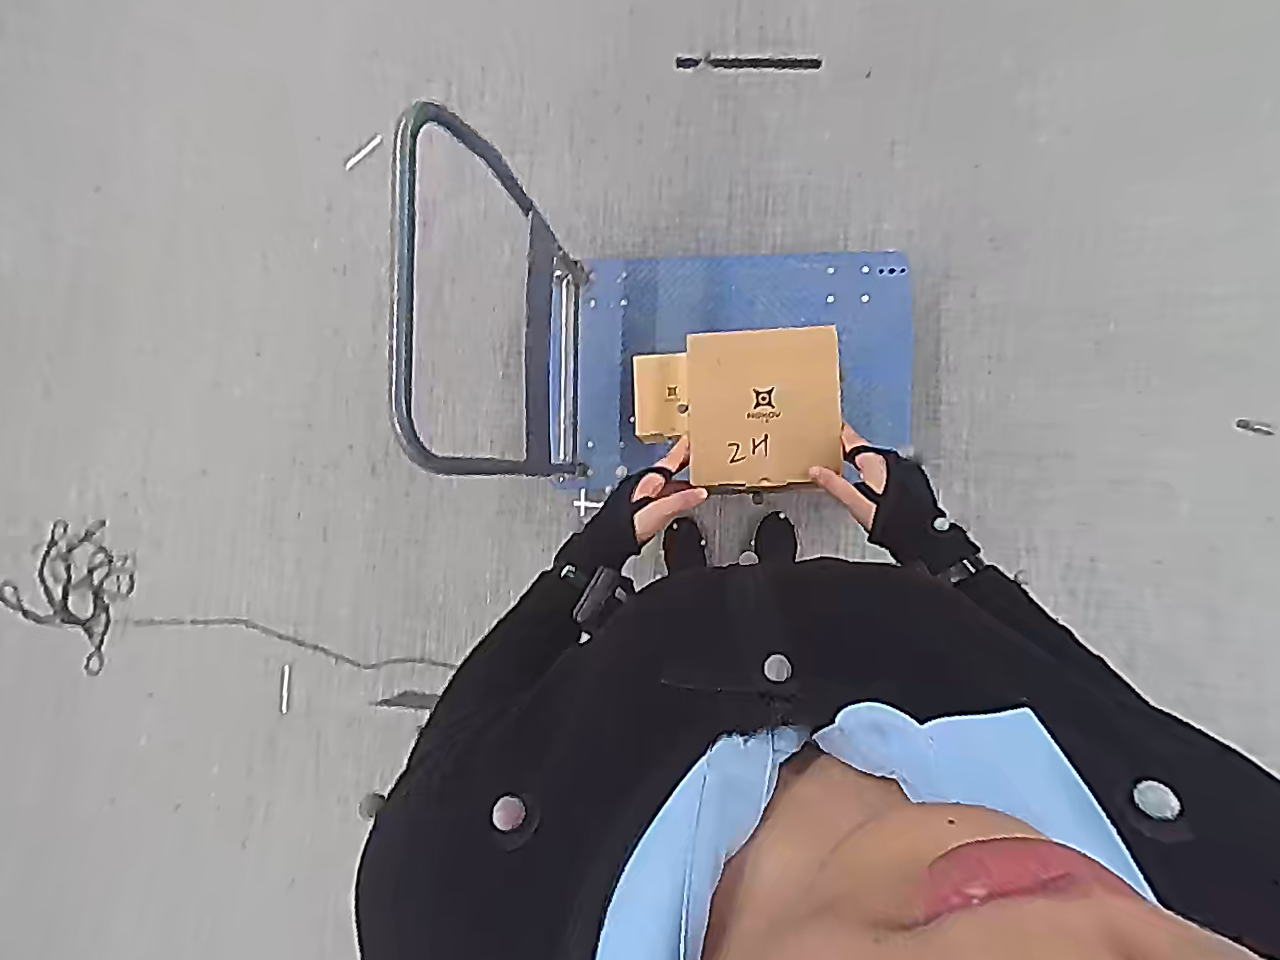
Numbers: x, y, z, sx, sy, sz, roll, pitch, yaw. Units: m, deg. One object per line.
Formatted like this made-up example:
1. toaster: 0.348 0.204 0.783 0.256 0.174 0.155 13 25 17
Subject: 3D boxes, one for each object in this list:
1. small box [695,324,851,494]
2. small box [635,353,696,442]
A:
1. small box: 0.151 -0.074 0.663 0.168 0.176 0.179 -1 86 8
2. small box: 0.079 -0.183 1.239 0.168 0.176 0.179 -3 90 5
